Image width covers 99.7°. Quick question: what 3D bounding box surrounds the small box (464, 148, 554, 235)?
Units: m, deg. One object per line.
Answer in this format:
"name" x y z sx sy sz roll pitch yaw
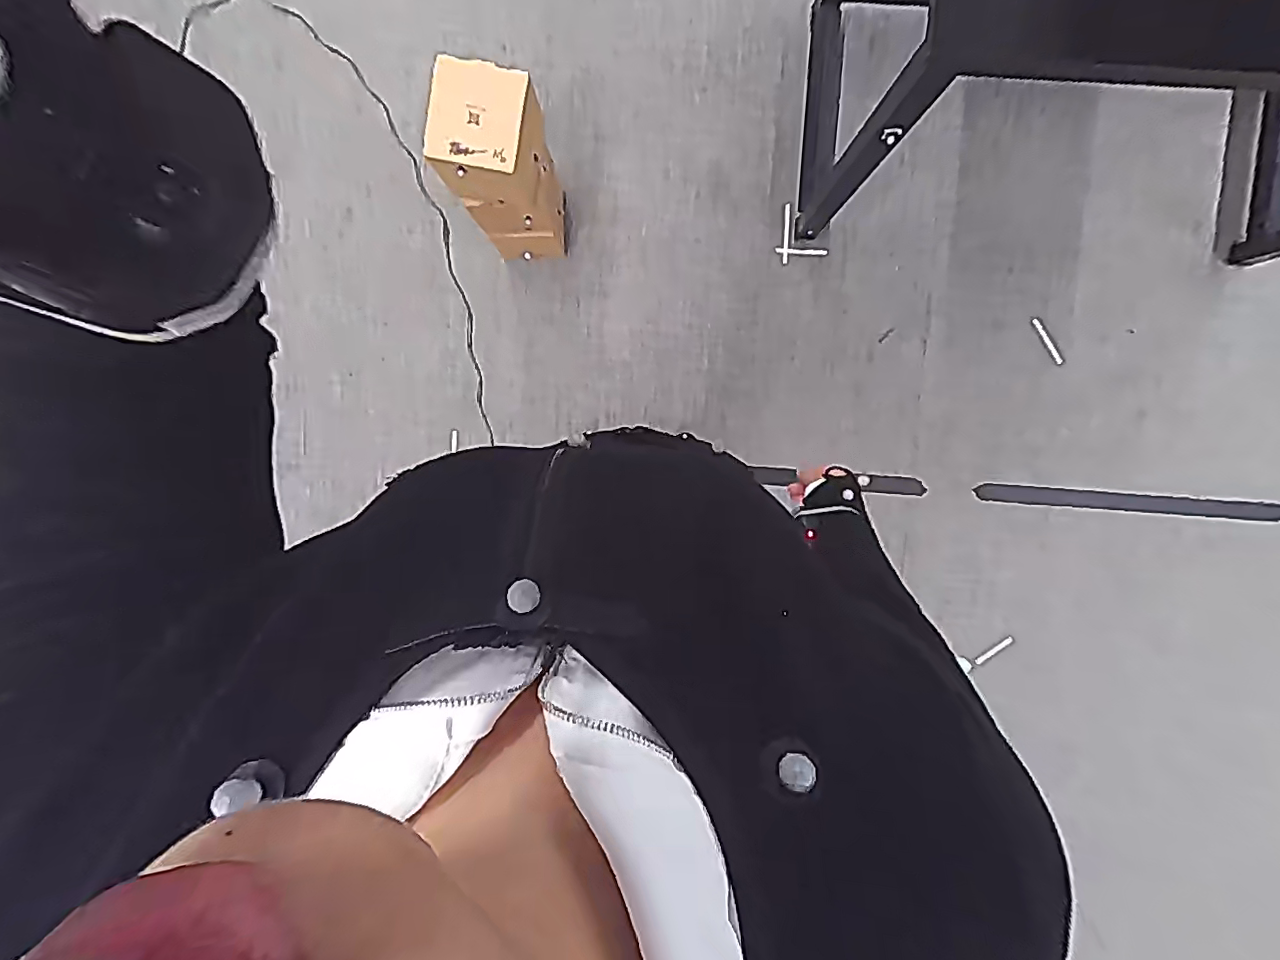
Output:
"small box" -0.290 -0.660 1.201 0.168 0.176 0.179 -4 93 0

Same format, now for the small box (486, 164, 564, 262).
"small box" -0.285 -0.667 1.363 0.168 0.176 0.179 0 95 1

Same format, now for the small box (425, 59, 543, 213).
"small box" -0.289 -0.647 1.037 0.168 0.176 0.179 10 94 -1
